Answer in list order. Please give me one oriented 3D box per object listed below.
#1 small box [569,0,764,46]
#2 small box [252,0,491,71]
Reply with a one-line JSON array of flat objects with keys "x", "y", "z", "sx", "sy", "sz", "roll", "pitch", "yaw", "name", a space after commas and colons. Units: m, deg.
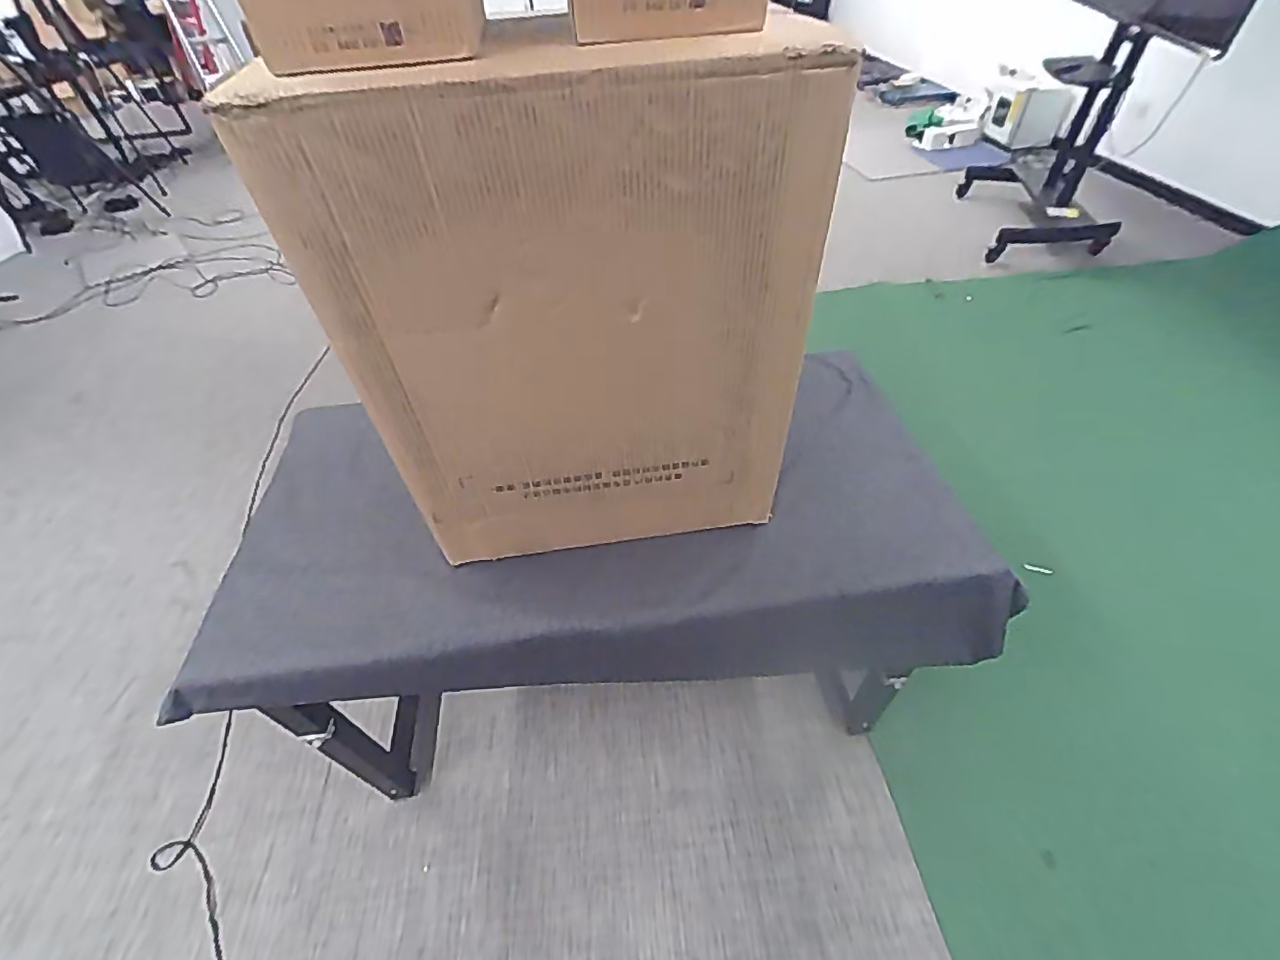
[{"x": 0.016, "y": -0.490, "z": 0.464, "sx": 0.168, "sy": 0.176, "sz": 0.179, "roll": -6, "pitch": 47, "yaw": -5, "name": "small box"}, {"x": -0.224, "y": -0.449, "z": 0.436, "sx": 0.168, "sy": 0.176, "sz": 0.179, "roll": -7, "pitch": 49, "yaw": -3, "name": "small box"}]
